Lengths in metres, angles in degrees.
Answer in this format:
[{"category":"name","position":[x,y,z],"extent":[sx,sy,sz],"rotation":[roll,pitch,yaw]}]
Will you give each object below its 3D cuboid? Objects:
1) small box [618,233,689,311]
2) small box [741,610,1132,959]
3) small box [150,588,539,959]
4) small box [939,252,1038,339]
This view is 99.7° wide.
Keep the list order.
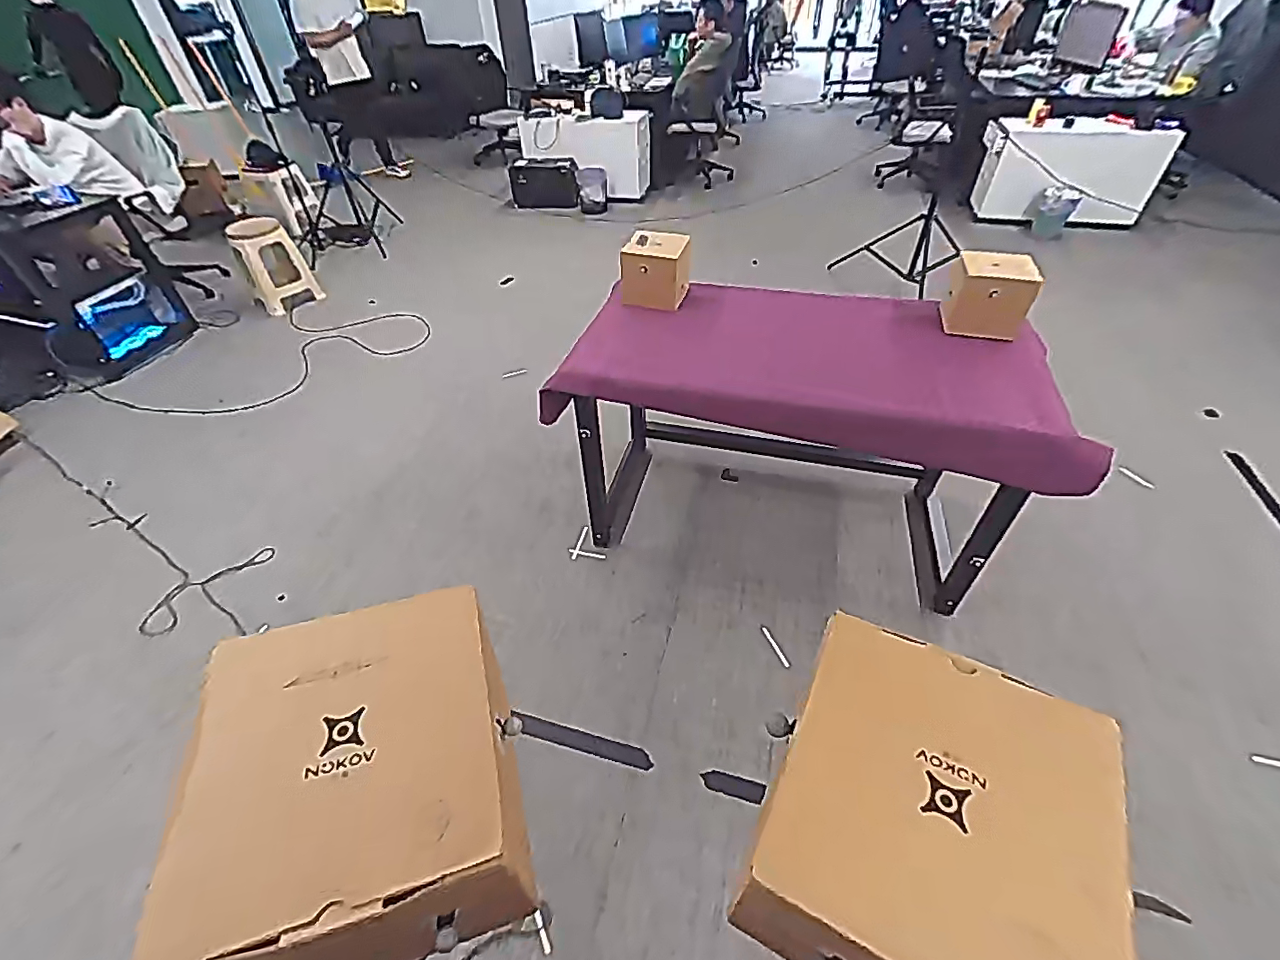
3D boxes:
[{"category":"small box","position":[0.045,-0.637,1.662],"extent":[0.179,0.176,0.168],"rotation":[12,48,13]},{"category":"small box","position":[0.172,0.226,0.352],"extent":[0.168,0.176,0.179],"rotation":[19,47,21]},{"category":"small box","position":[-0.169,0.208,0.369],"extent":[0.168,0.176,0.179],"rotation":[-11,45,-15]},{"category":"small box","position":[0.940,-0.505,1.481],"extent":[0.179,0.176,0.168],"rotation":[10,46,12]}]
